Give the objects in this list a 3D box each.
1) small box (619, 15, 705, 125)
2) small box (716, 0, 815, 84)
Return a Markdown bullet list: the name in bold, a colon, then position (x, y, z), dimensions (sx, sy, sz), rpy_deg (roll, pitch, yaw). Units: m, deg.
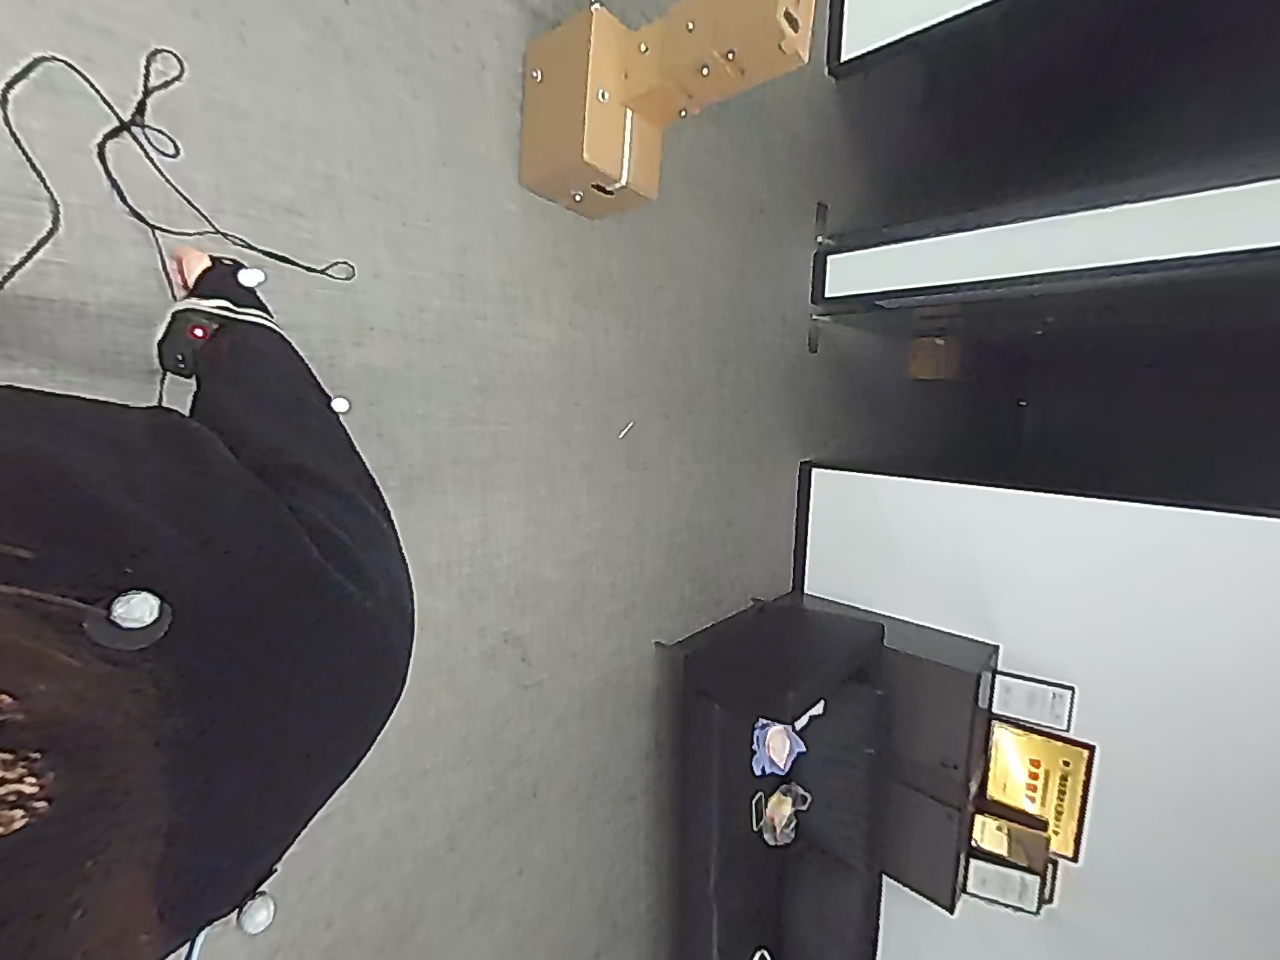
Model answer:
- **small box**: position (0.059, -1.142, 1.527), dimensions (0.179, 0.176, 0.168), rpy_deg (-1, 99, -49)
- **small box**: position (0.300, -1.110, 1.304), dimensions (0.168, 0.176, 0.179), rpy_deg (5, 92, -49)
